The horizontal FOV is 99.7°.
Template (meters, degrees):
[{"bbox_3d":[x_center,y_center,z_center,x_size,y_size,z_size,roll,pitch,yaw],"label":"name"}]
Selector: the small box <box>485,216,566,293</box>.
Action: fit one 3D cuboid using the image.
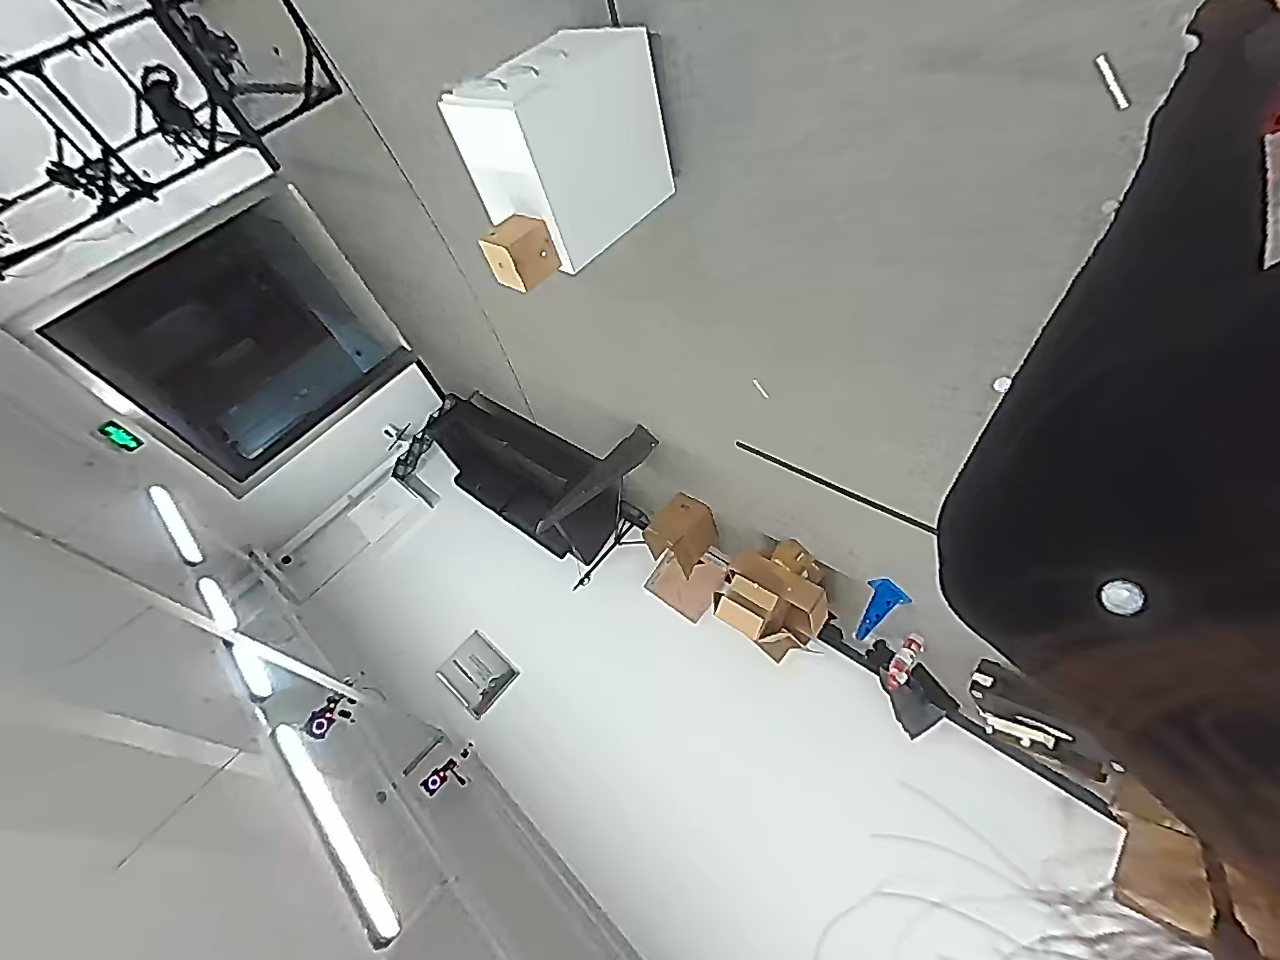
[{"bbox_3d":[-0.381,-0.767,1.825,0.179,0.176,0.168,31,158,35],"label":"small box"}]
